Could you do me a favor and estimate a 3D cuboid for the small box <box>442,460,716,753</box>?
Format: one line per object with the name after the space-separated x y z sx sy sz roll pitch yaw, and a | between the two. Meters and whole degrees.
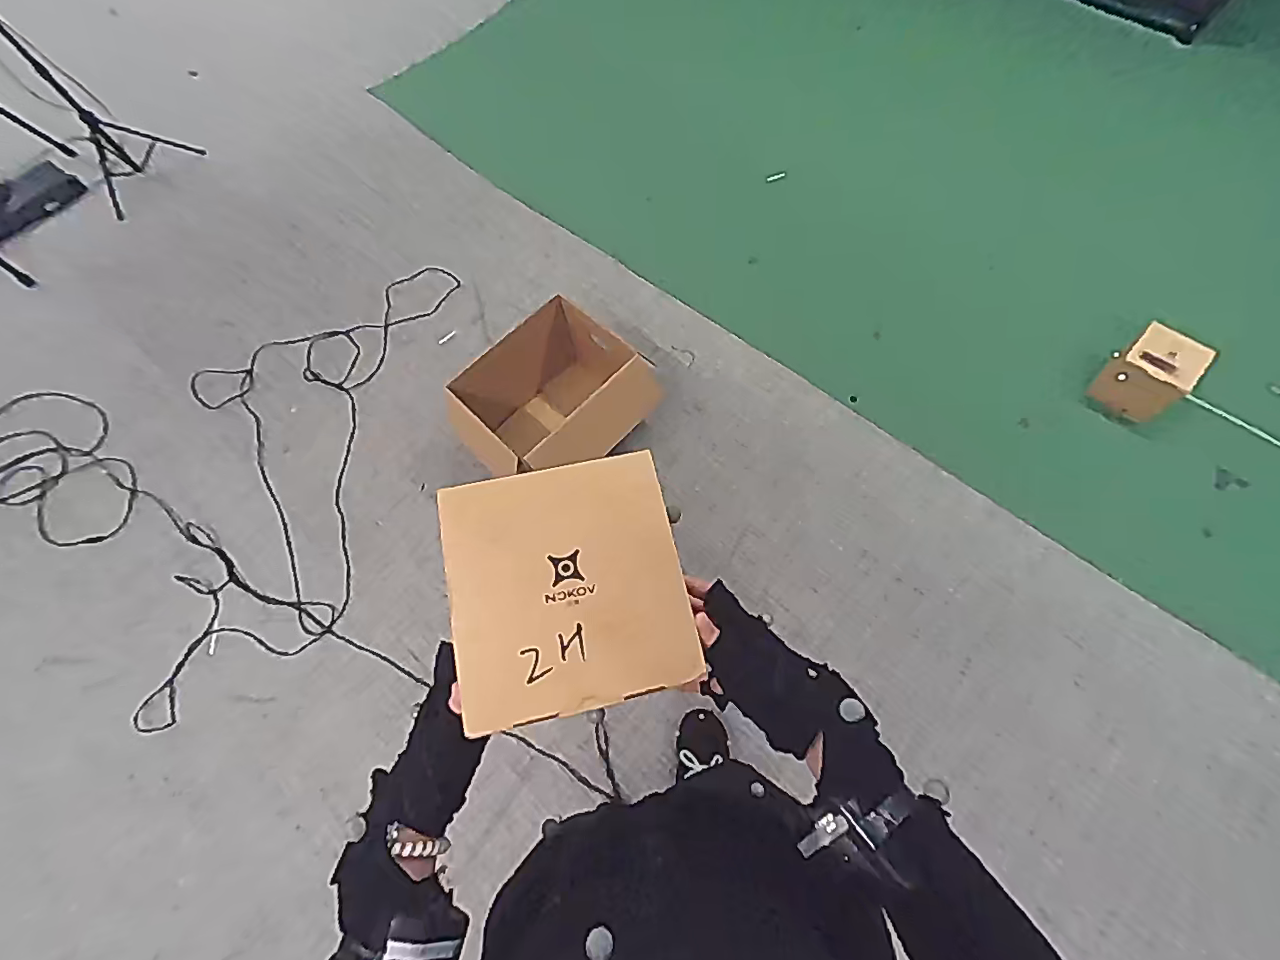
-0.052 0.105 0.447 0.168 0.176 0.179 -11 71 -7 | small box
